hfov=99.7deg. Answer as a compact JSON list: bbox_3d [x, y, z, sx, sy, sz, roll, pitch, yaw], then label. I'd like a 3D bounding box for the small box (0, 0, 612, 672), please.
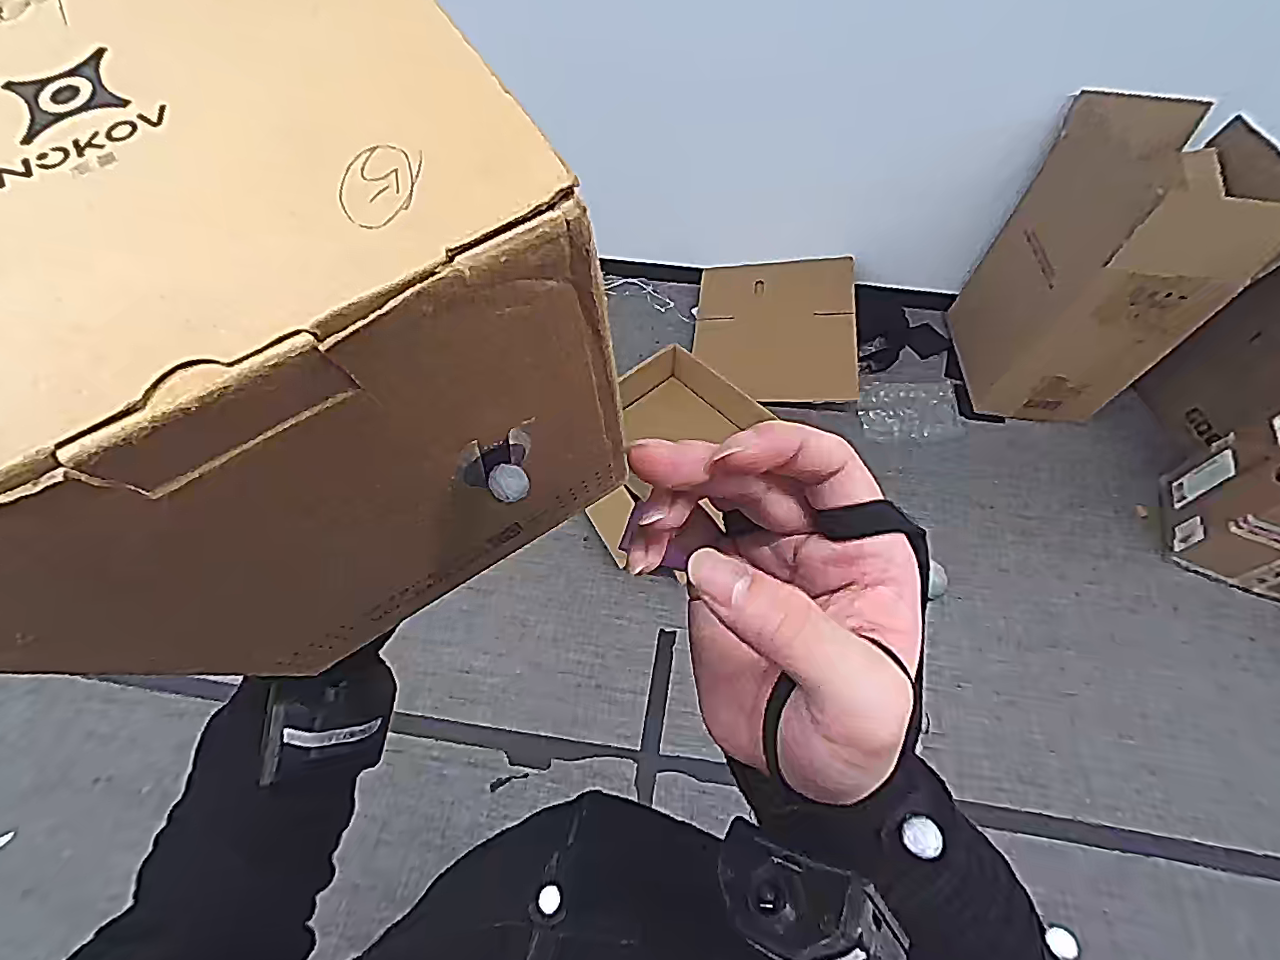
[{"bbox_3d":[-0.123,-0.047,0.210,0.168,0.176,0.179,-32,71,-11],"label":"small box"}]
